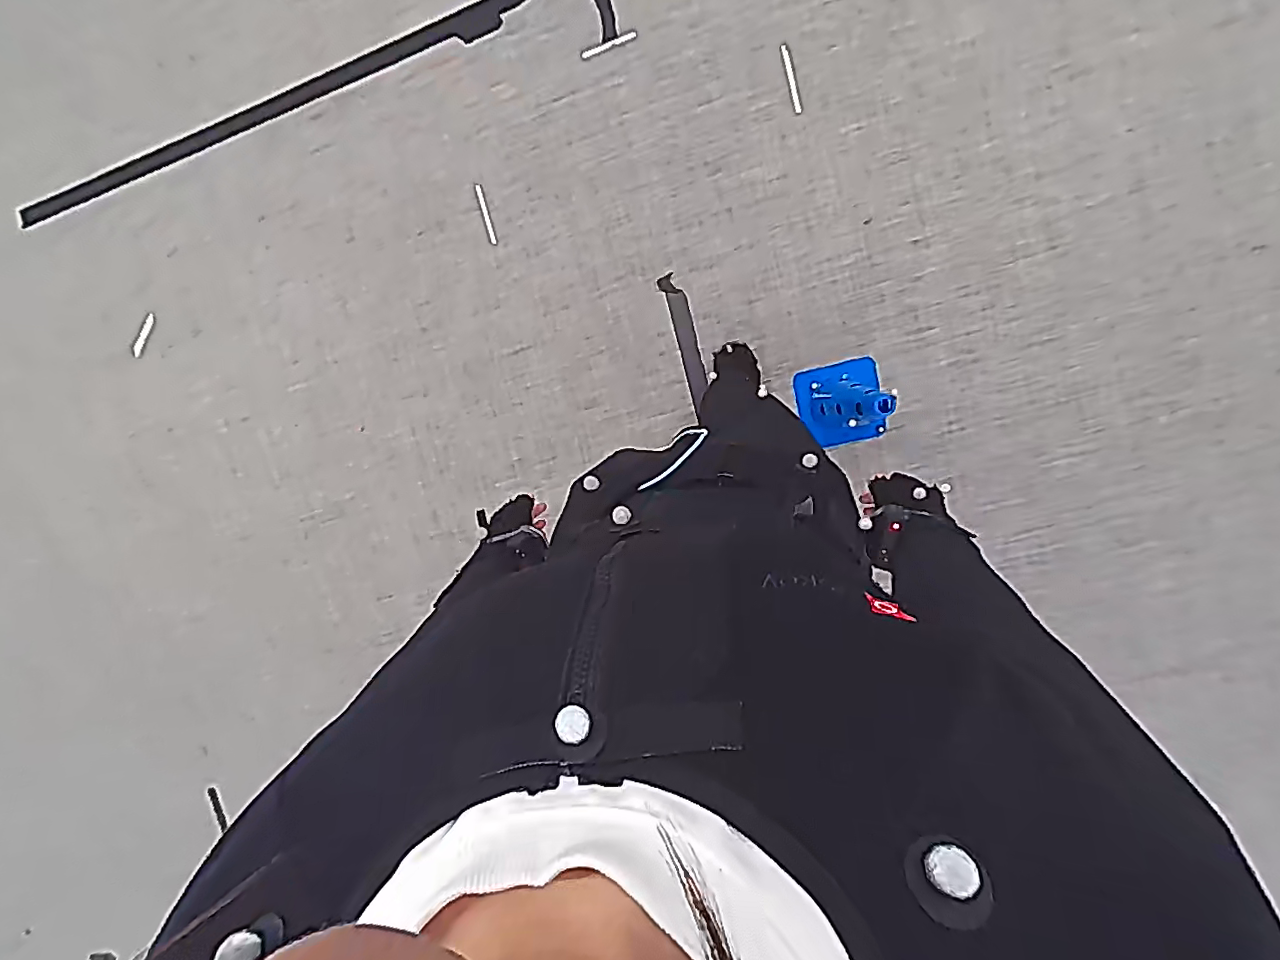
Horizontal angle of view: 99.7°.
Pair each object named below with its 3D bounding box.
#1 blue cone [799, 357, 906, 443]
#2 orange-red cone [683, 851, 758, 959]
[{"bbox_3d":[0.482,-0.172,1.179,0.192,0.380,0.193,-11,97,8],"label":"blue cone"},{"bbox_3d":[0.208,1.184,1.390,0.199,0.360,0.198,-10,95,10],"label":"orange-red cone"}]
